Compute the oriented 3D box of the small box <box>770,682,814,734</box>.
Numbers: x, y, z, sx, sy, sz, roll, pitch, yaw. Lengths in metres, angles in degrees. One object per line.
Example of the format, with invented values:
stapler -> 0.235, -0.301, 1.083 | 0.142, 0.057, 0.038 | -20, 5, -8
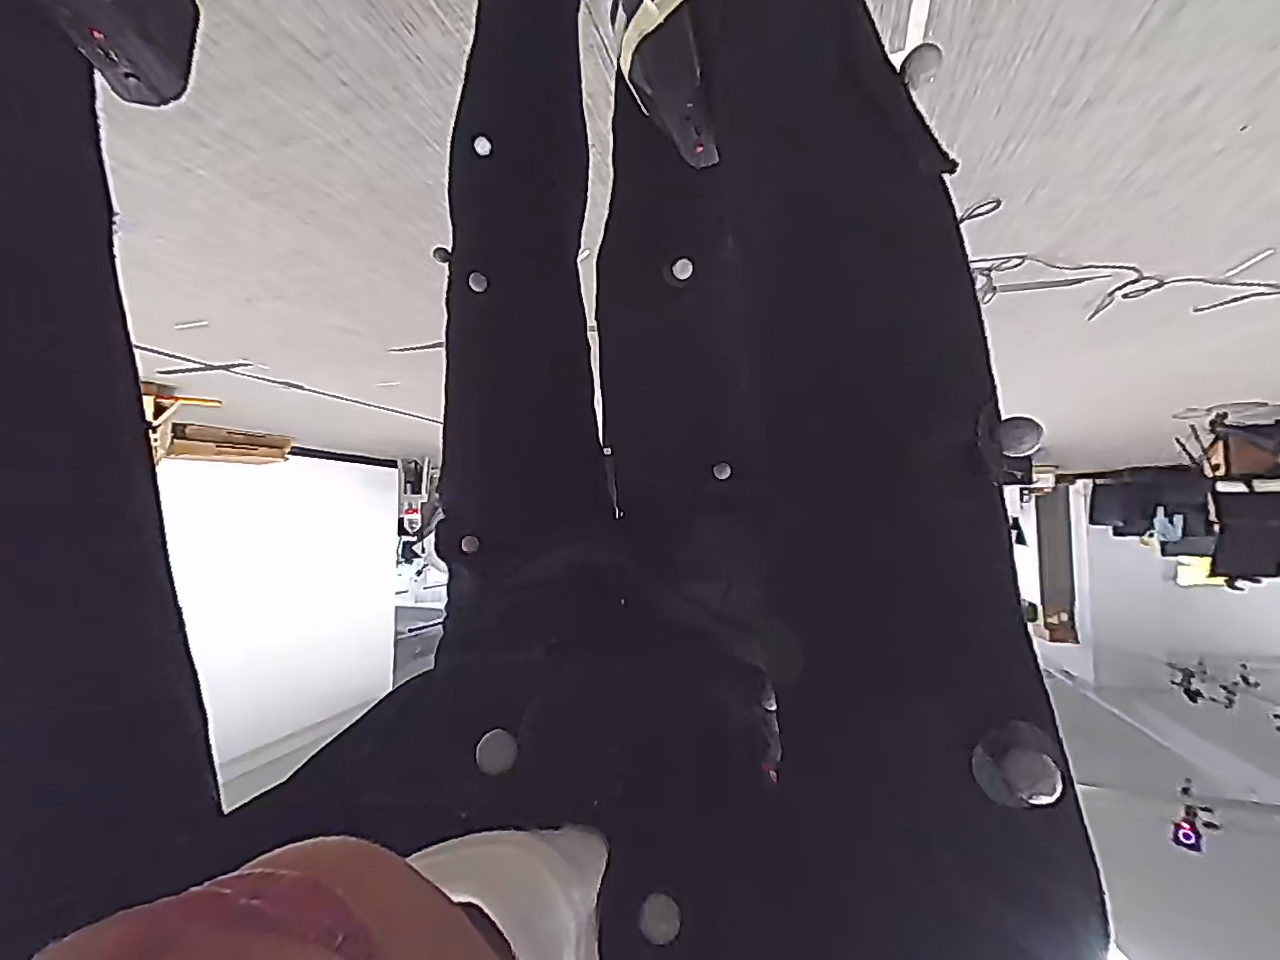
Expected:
small box -> 0.671, 1.005, 2.400 | 0.179, 0.176, 0.168 | -3, 177, 13
